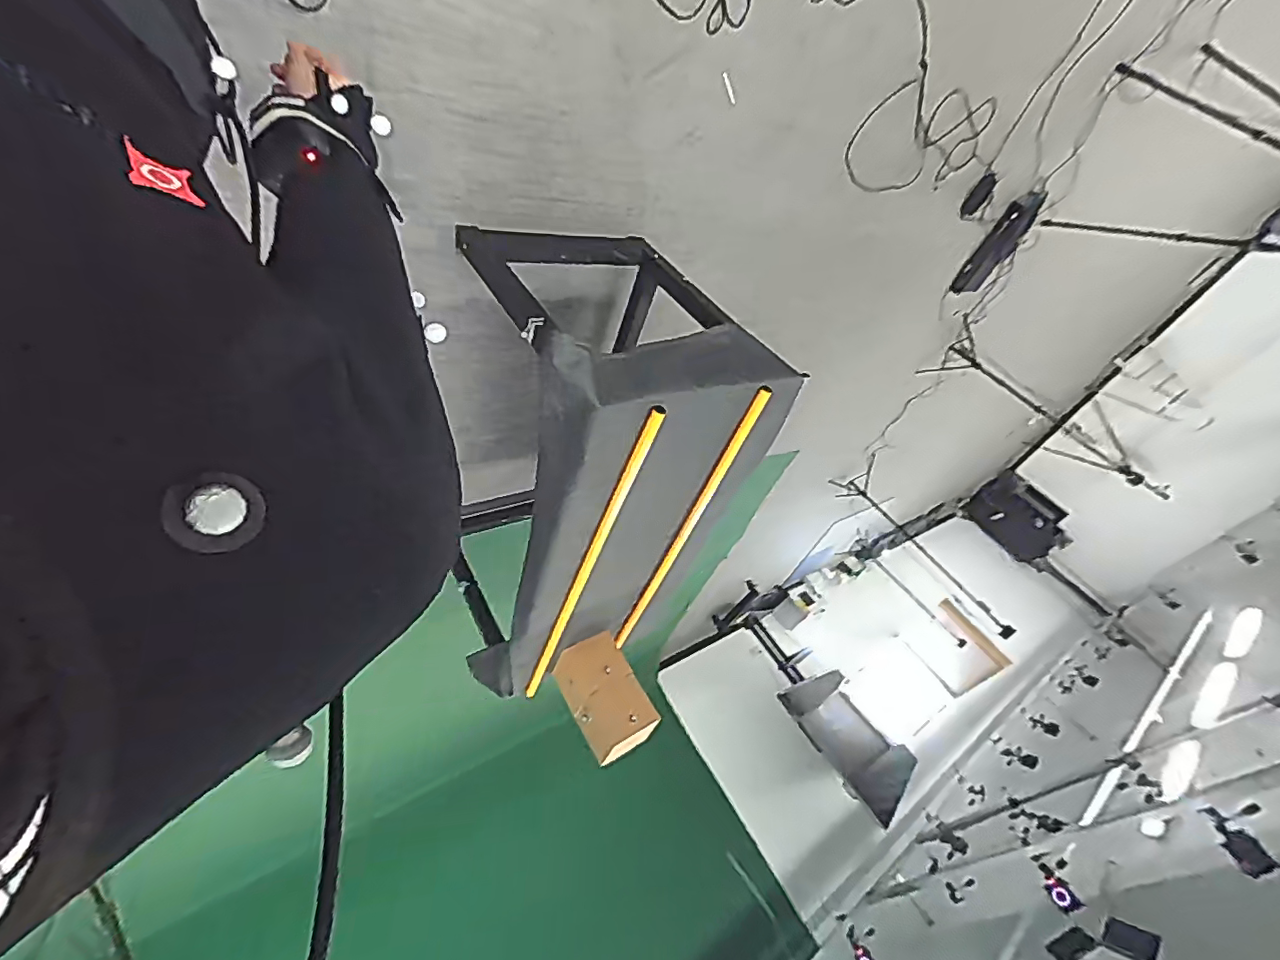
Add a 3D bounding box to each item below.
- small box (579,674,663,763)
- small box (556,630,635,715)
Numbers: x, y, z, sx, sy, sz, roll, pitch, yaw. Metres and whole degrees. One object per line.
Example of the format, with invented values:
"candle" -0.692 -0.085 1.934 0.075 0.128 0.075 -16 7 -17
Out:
"small box" -0.064 0.738 1.688 0.179 0.176 0.168 -15 142 -35
"small box" -0.151 0.622 1.763 0.179 0.176 0.168 -14 143 -36
